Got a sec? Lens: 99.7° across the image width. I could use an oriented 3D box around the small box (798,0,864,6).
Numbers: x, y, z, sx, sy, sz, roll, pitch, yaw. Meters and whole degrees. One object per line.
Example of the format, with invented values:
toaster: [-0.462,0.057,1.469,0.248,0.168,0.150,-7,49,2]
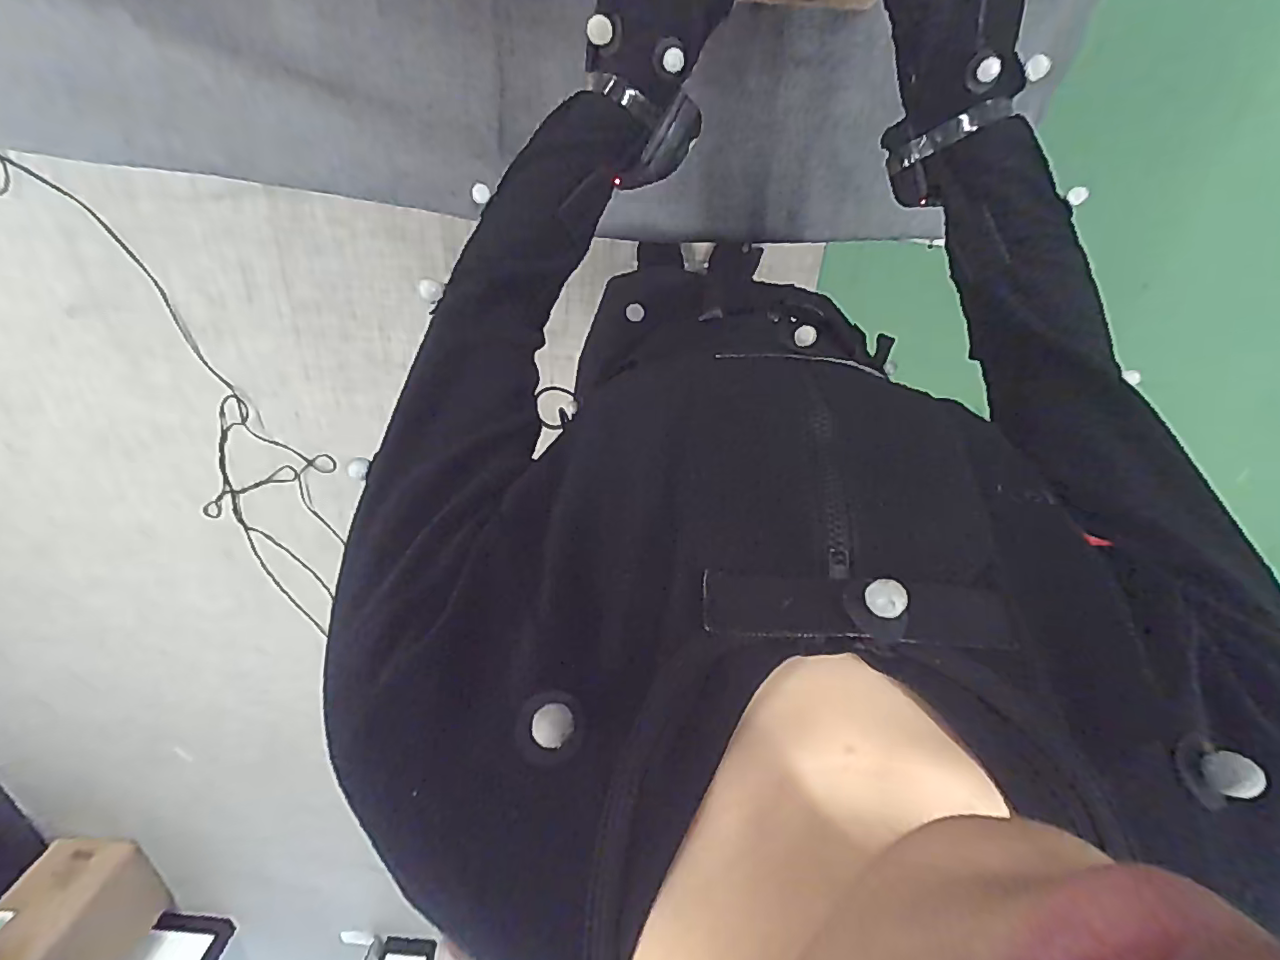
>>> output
small box: [0.133,-0.491,0.404,0.168,0.176,0.179,5,117,2]
